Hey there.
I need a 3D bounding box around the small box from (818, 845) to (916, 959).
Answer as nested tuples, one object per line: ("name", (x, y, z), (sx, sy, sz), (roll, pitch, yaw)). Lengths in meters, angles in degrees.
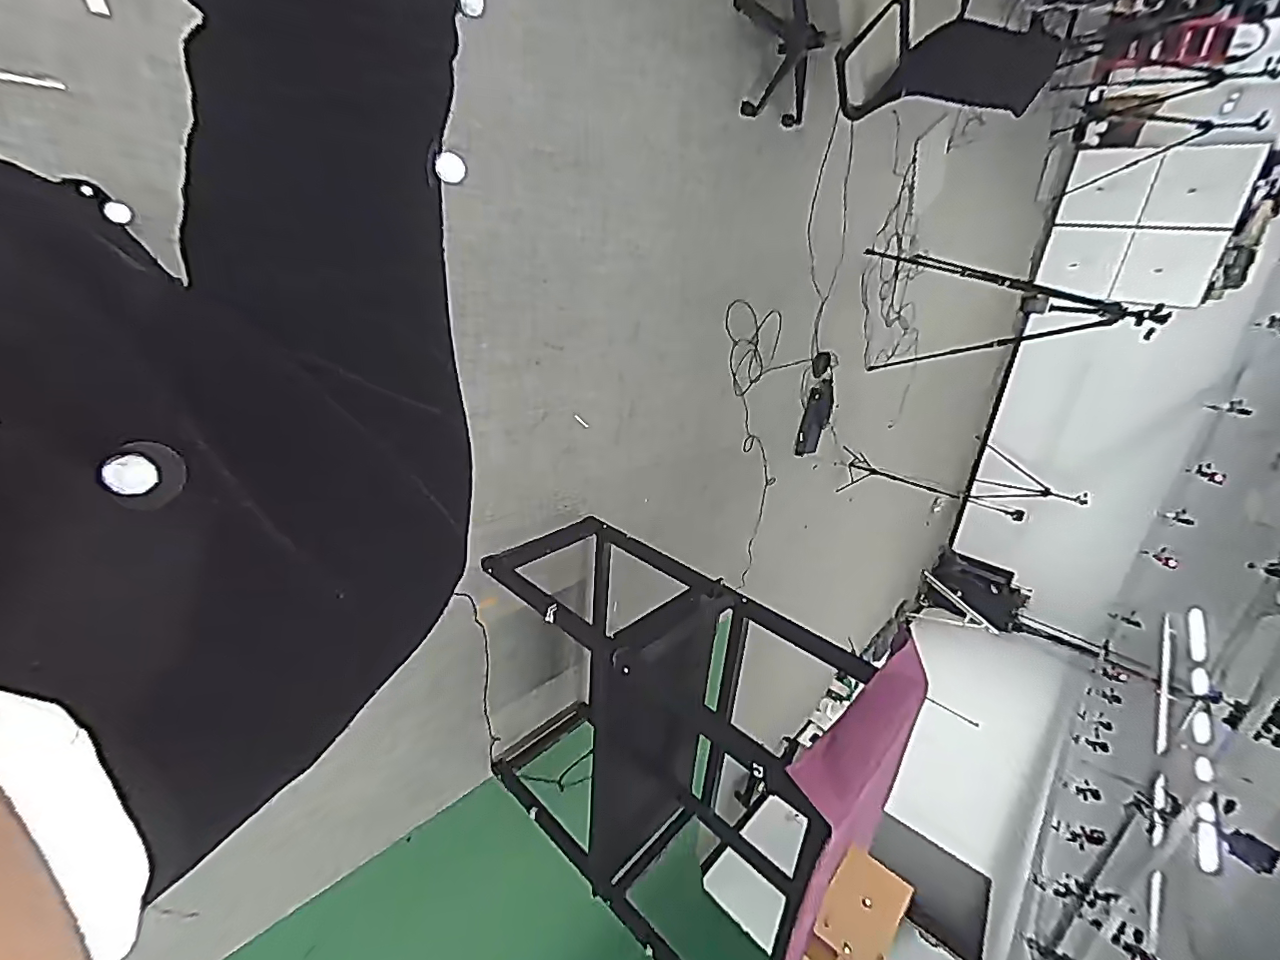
("small box", (0.580, 1.105, 1.393), (0.179, 0.176, 0.168), (-18, 122, -46))
